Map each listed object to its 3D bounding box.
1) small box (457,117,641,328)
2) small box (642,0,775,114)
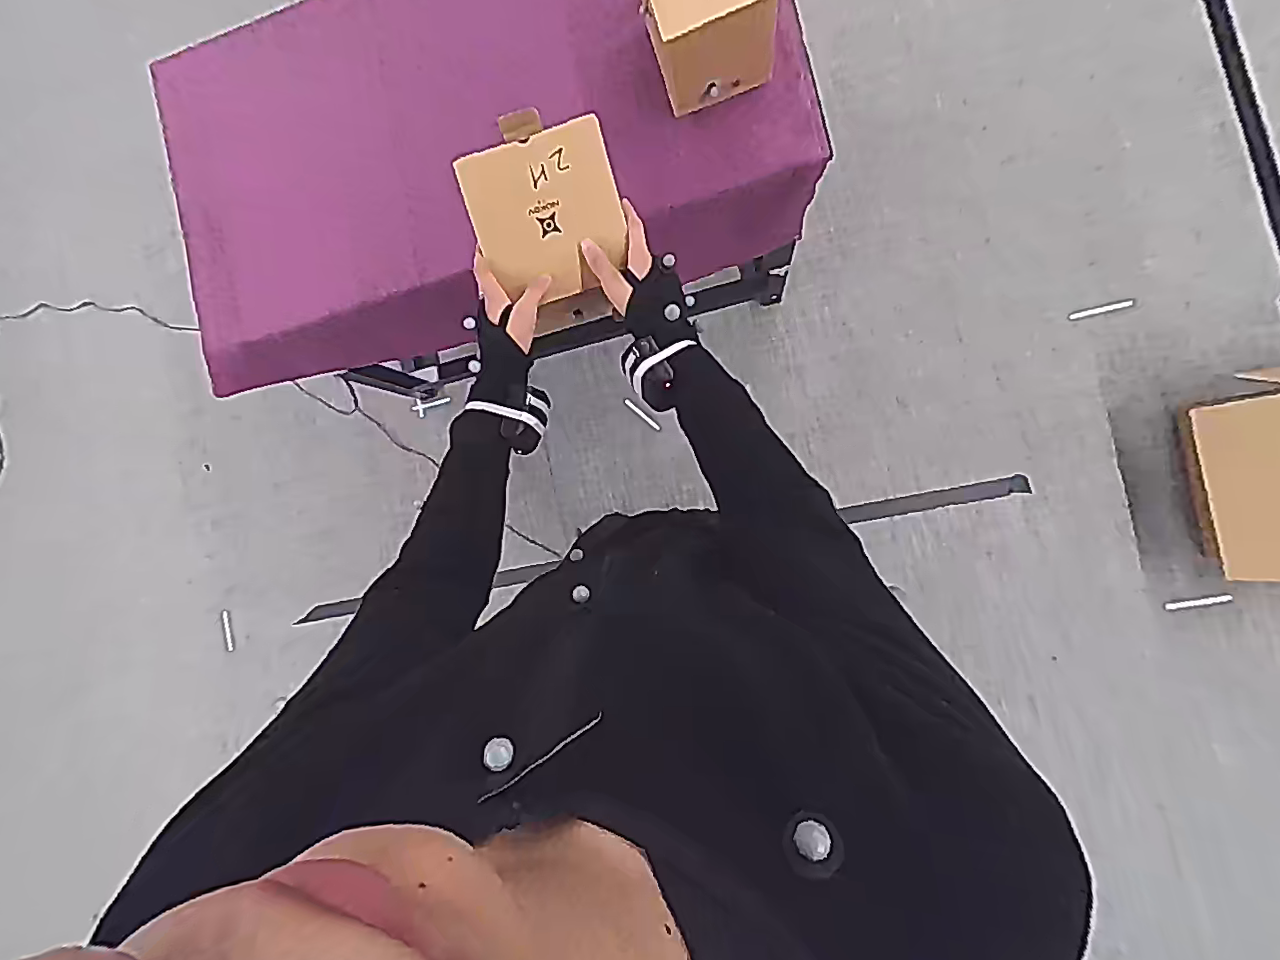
[{"bbox_3d":[-0.098,-0.300,0.678,0.168,0.176,0.179,-16,96,3],"label":"small box"},{"bbox_3d":[0.096,-0.712,0.817,0.168,0.176,0.179,-17,86,10],"label":"small box"}]
